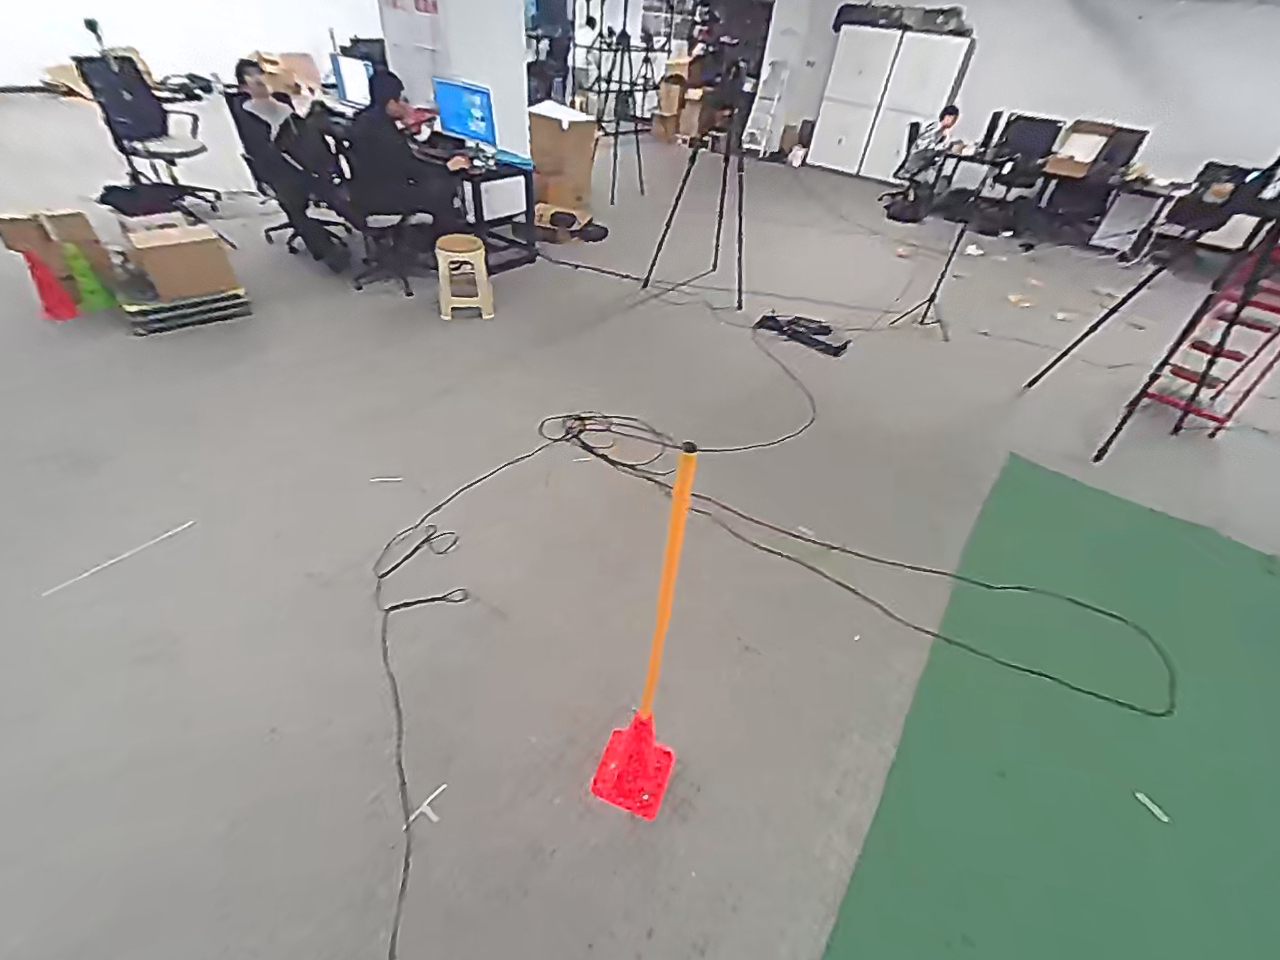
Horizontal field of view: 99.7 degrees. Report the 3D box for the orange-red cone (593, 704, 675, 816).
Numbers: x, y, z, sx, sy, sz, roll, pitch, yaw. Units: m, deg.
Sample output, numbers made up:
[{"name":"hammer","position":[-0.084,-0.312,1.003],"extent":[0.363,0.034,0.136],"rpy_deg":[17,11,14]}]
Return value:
[{"name":"orange-red cone","position":[0.001,0.704,1.447],"extent":[0.198,0.360,0.199],"rpy_deg":[19,41,13]}]
